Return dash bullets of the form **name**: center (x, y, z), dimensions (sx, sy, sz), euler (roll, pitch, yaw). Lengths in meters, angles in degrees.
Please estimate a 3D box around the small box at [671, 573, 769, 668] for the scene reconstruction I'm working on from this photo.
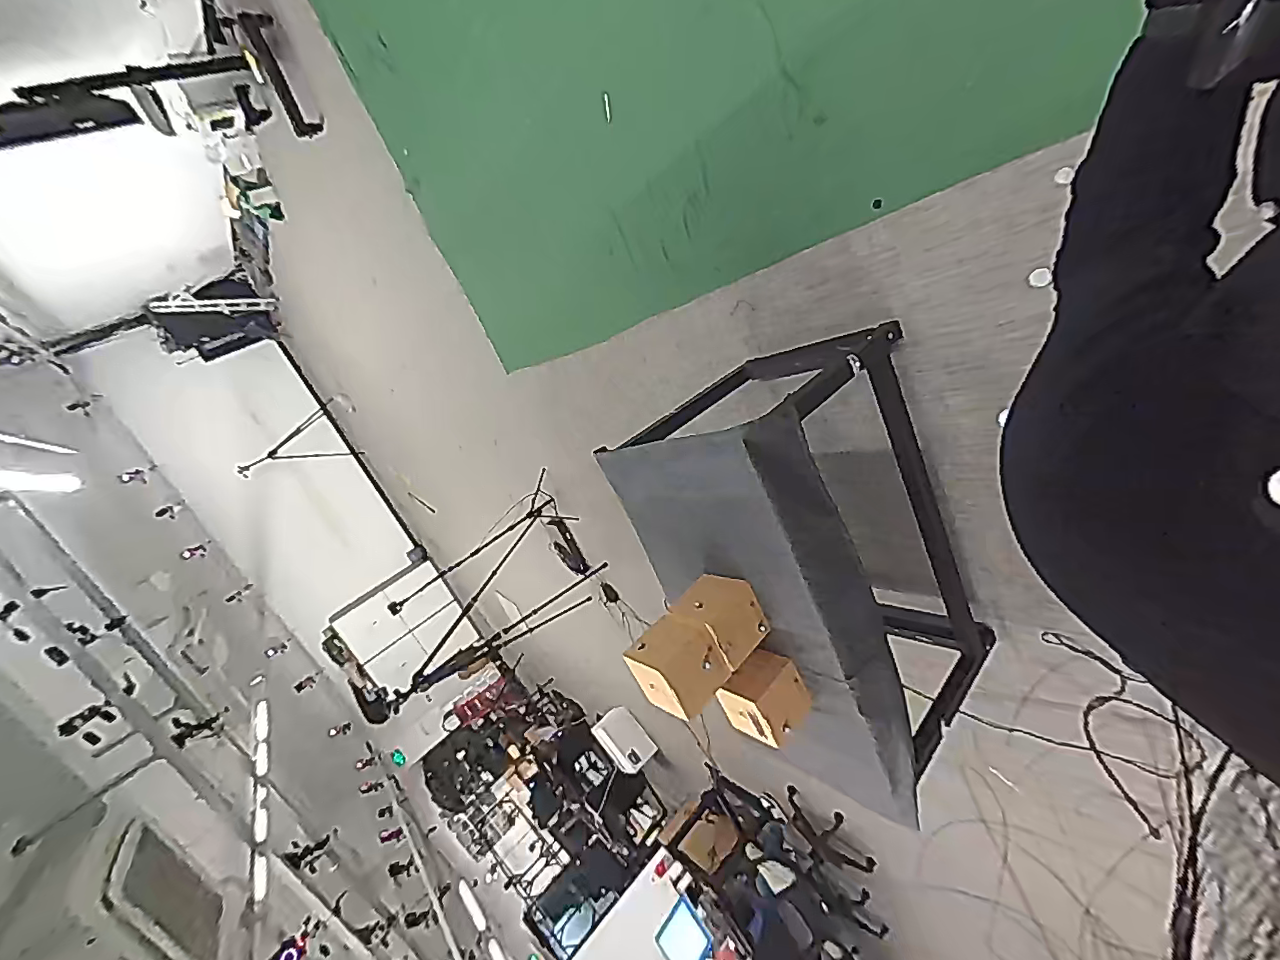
- **small box**: center (0.223, 0.368, 1.456), dimensions (0.179, 0.176, 0.168), euler (-2, 119, 57)

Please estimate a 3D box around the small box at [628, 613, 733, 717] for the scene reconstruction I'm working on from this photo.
- **small box**: center (0.106, 0.464, 1.391), dimensions (0.179, 0.176, 0.168), euler (-6, 117, 56)
